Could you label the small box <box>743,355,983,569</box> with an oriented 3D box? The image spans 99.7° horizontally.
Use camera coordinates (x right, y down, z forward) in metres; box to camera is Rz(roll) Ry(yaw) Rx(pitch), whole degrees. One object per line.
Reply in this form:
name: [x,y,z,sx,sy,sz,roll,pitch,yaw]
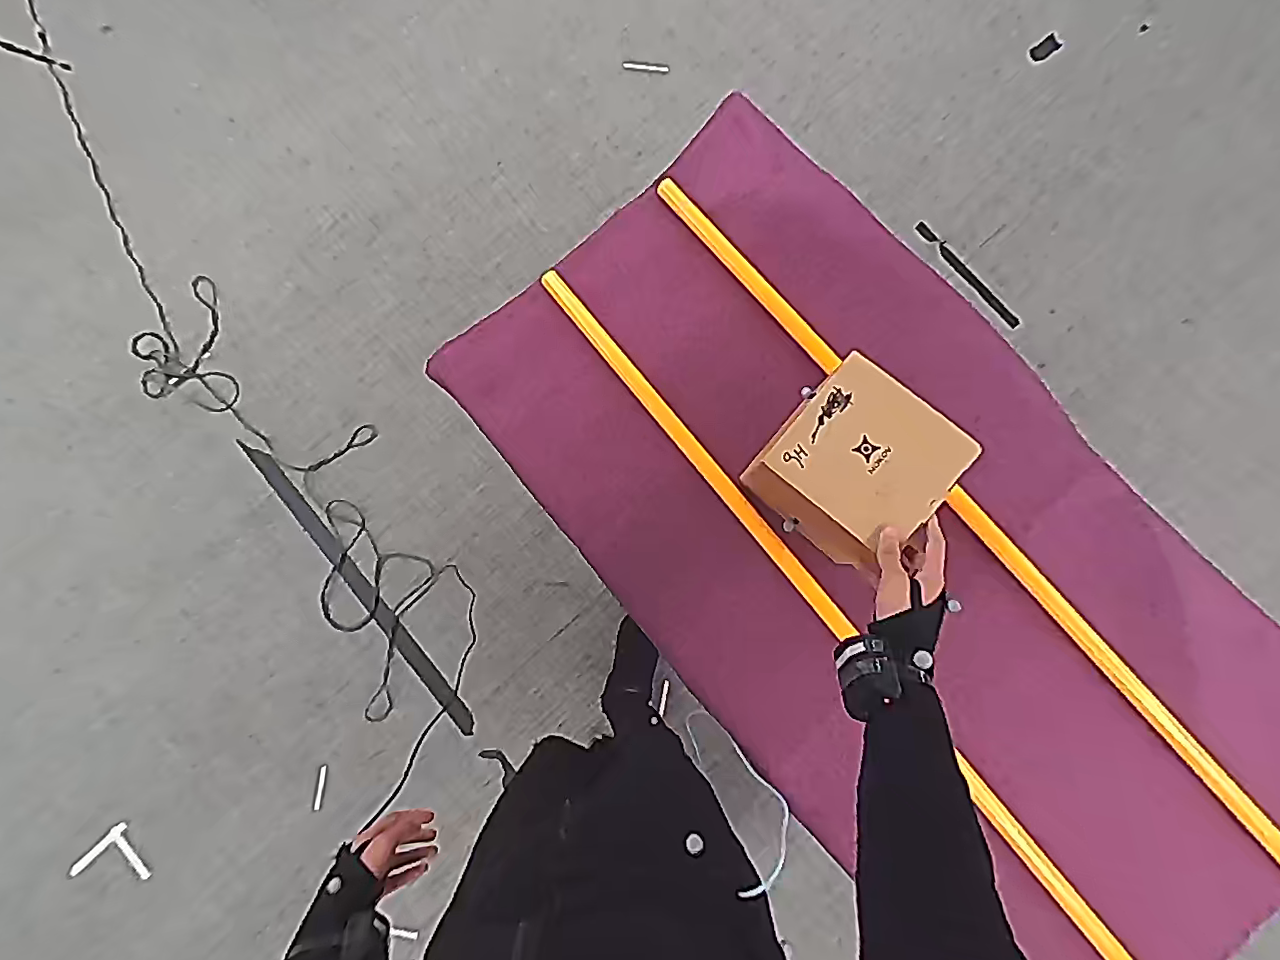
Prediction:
small box: [0.250,-0.014,0.654,0.179,0.176,0.168,41,86,5]
